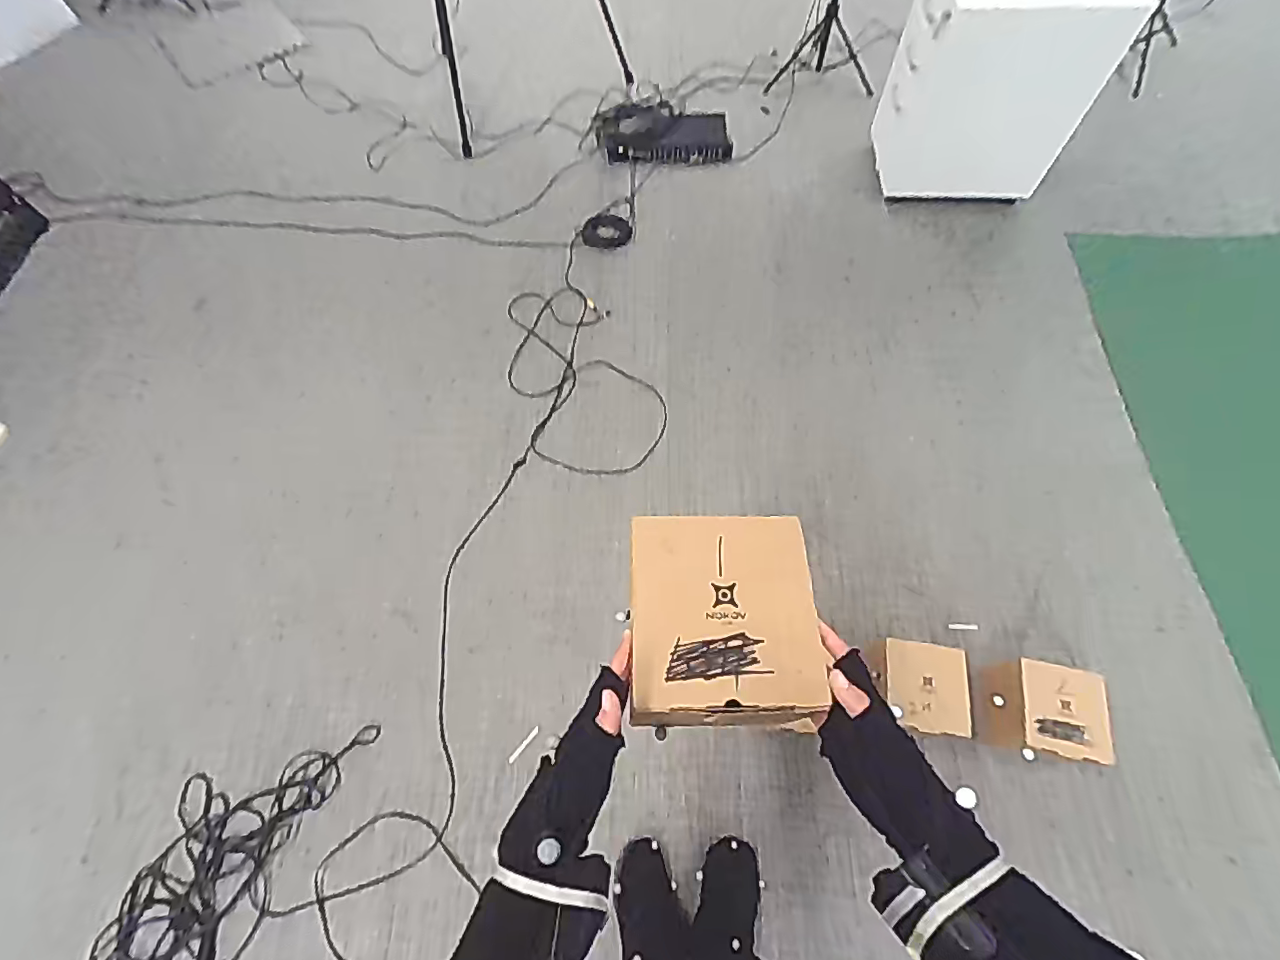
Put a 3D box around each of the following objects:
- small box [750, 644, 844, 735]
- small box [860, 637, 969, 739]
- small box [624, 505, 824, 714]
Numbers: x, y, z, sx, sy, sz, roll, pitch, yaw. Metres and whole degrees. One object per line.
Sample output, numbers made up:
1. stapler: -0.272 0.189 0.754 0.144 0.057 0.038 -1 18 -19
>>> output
1. small box: 0.337 0.466 1.204 0.168 0.176 0.179 1 64 3
2. small box: 0.594 0.463 1.193 0.168 0.176 0.179 8 65 7
3. small box: 0.068 0.138 0.548 0.168 0.176 0.179 0 62 -2
